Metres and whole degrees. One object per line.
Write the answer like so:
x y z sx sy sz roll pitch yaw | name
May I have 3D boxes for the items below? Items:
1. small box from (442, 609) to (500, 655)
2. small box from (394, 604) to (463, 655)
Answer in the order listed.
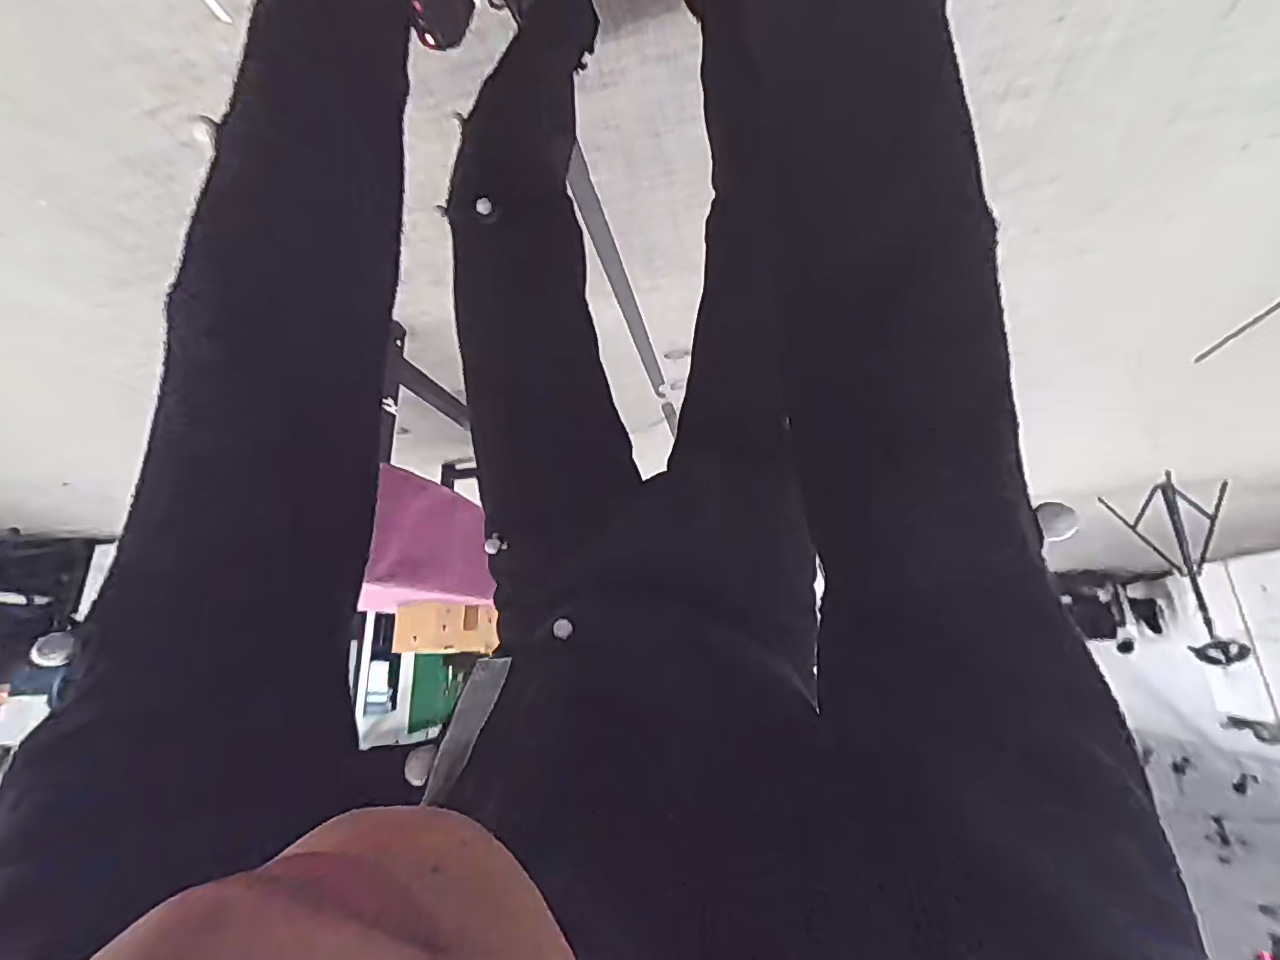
-0.680 0.616 2.183 0.179 0.176 0.168 -7 162 16 | small box
-0.757 0.542 1.956 0.179 0.176 0.168 -6 161 15 | small box
